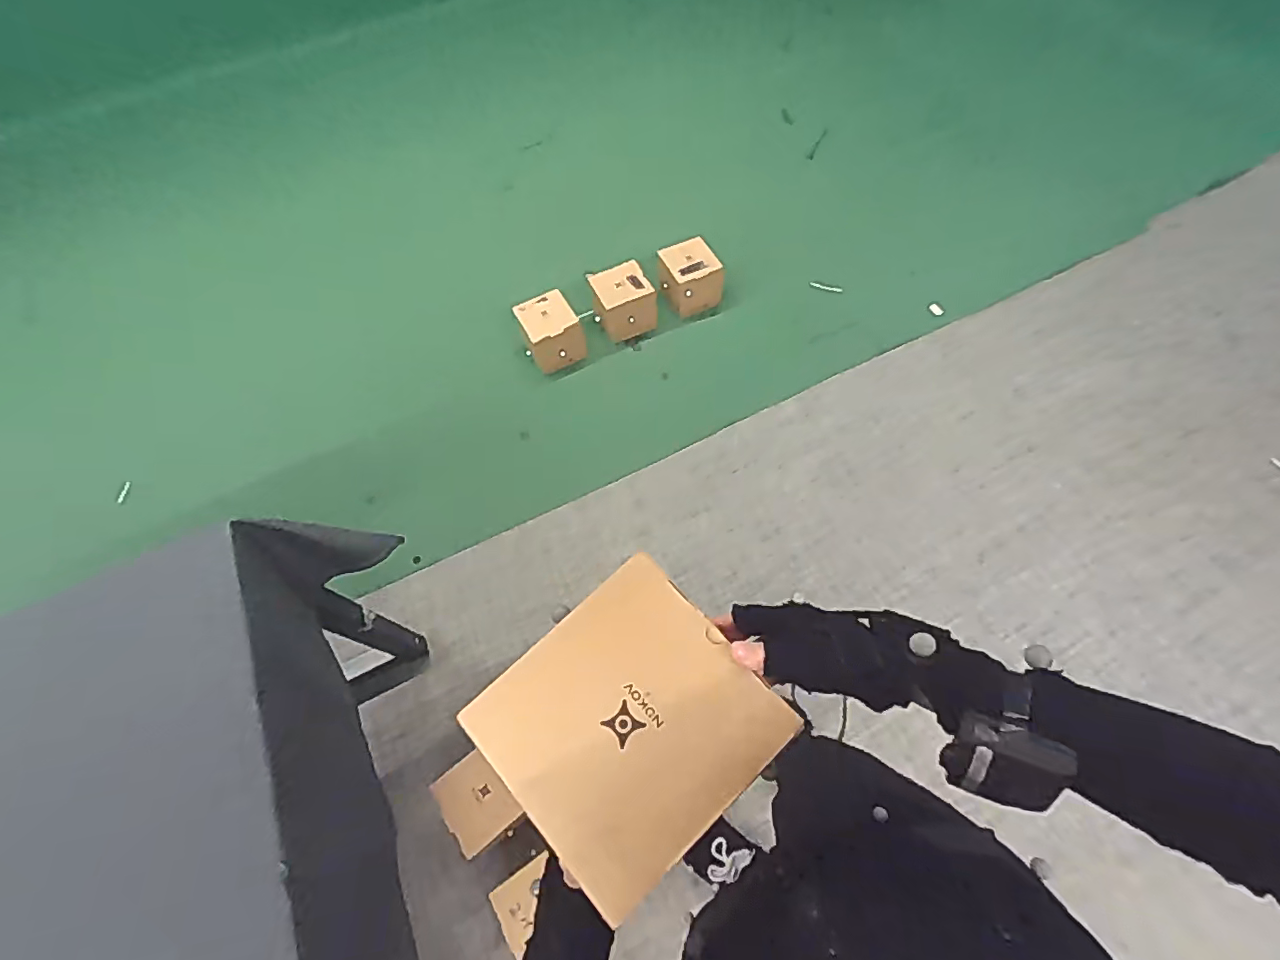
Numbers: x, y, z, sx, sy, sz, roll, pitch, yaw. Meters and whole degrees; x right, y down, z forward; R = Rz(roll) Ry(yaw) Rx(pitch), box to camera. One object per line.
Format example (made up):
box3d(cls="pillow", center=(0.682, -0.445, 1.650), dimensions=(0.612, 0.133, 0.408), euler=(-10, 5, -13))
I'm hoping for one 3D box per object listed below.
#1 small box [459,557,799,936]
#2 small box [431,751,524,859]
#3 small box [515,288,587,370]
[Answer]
box3d(cls="small box", center=(-0.006, 0.193, 0.438), dimensions=(0.179, 0.176, 0.168), euler=(-41, 75, -13))
box3d(cls="small box", center=(-0.315, 0.680, 1.182), dimensions=(0.179, 0.176, 0.168), euler=(-37, 67, -13))
box3d(cls="small box", center=(-0.288, -0.488, 1.782), dimensions=(0.168, 0.176, 0.179), euler=(-26, 65, -10))
